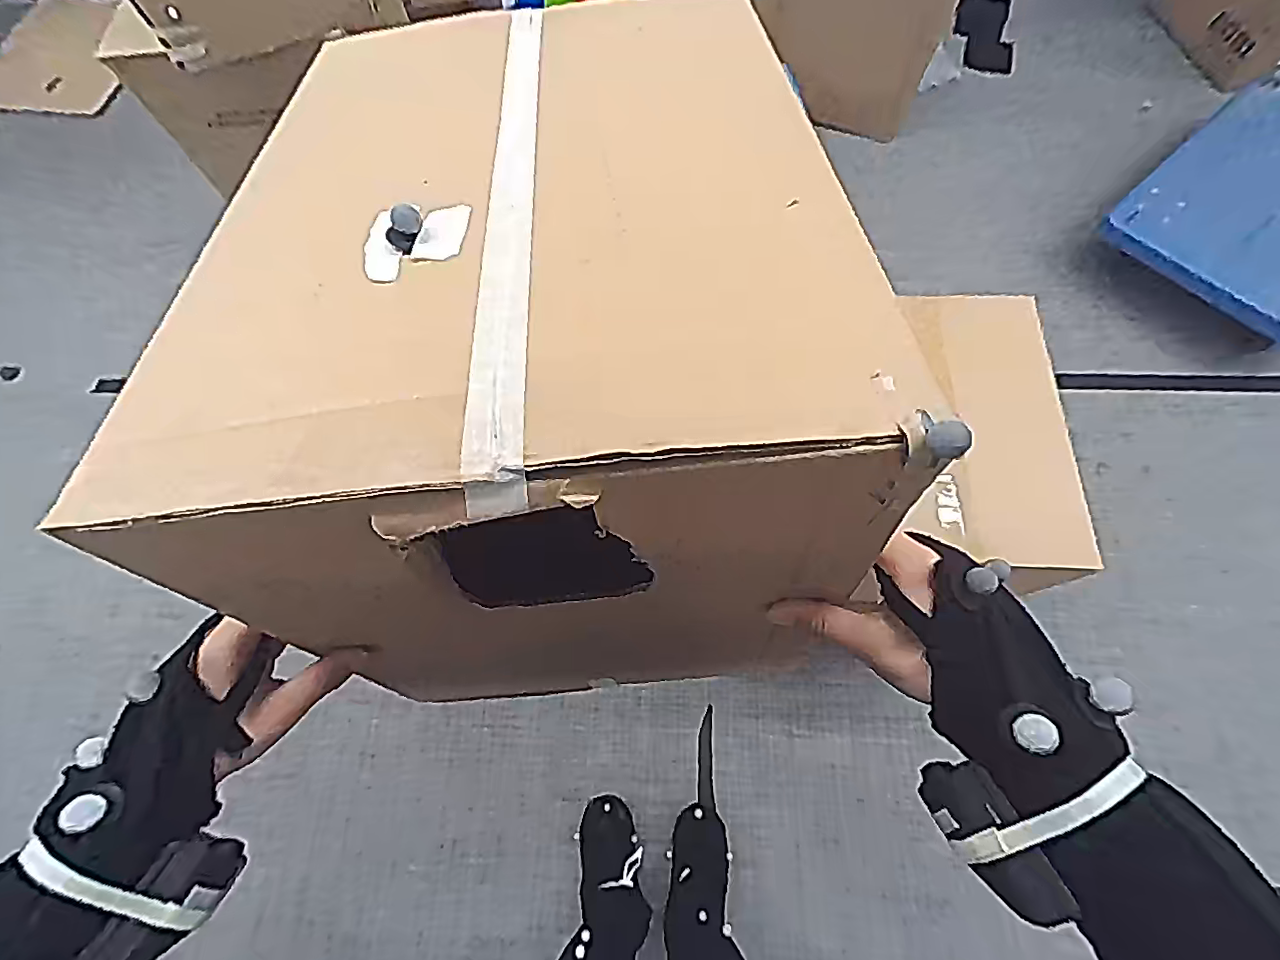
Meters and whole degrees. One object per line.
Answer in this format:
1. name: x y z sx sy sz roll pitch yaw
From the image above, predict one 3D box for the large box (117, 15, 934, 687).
1. large box: -0.054 -0.087 0.427 0.320 0.320 0.408 -7 58 1
